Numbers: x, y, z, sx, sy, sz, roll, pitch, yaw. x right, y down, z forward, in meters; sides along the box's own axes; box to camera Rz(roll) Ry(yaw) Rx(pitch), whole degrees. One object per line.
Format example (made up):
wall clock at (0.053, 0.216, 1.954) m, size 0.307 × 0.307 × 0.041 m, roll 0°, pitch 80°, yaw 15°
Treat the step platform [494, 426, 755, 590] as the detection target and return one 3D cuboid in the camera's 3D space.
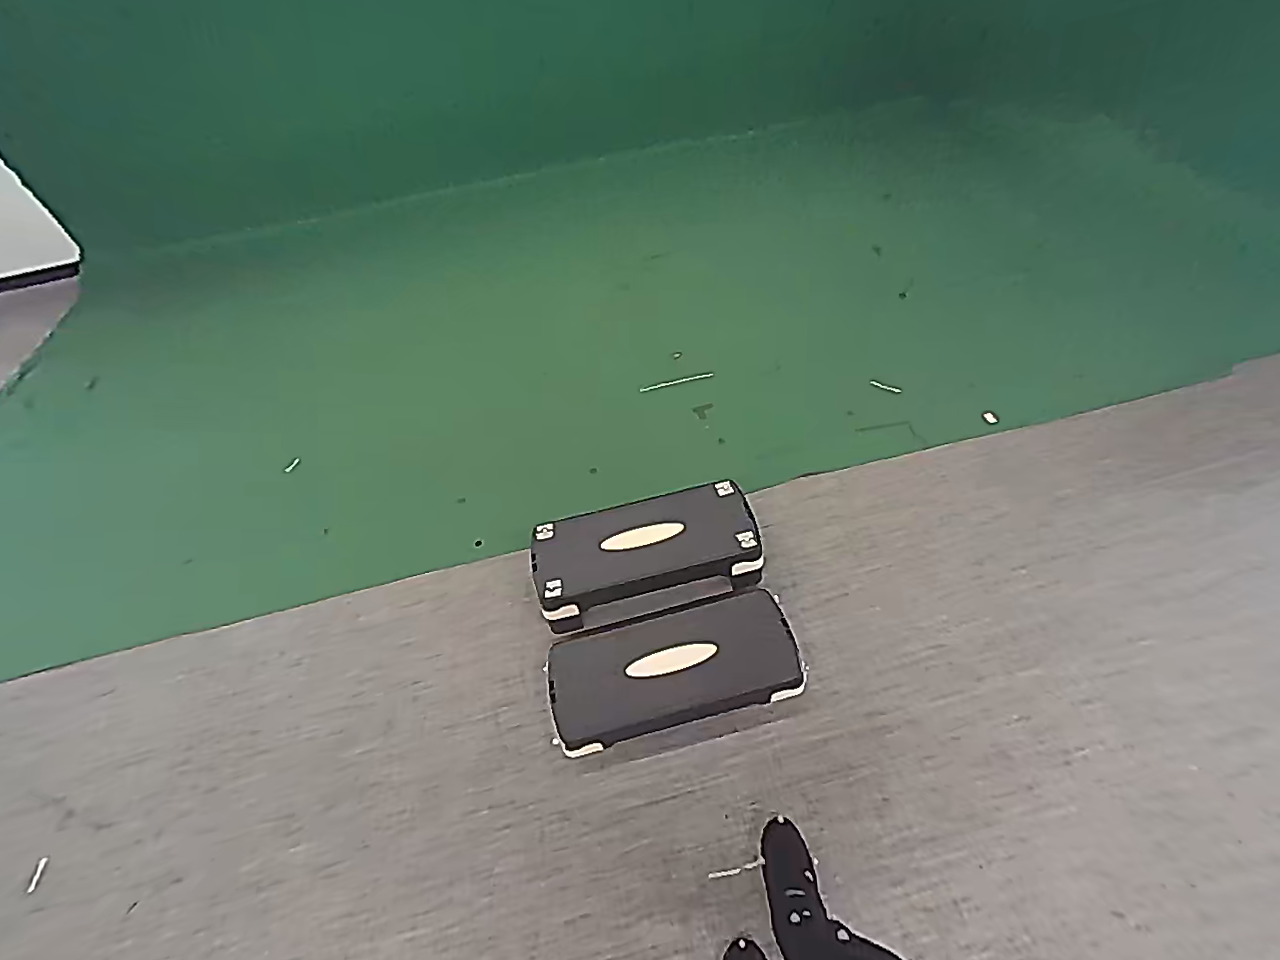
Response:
step platform at (-0.039, 0.075, 1.498) m, size 0.684 × 0.204 × 0.286 m, roll -14°, pitch 51°, yaw -3°
